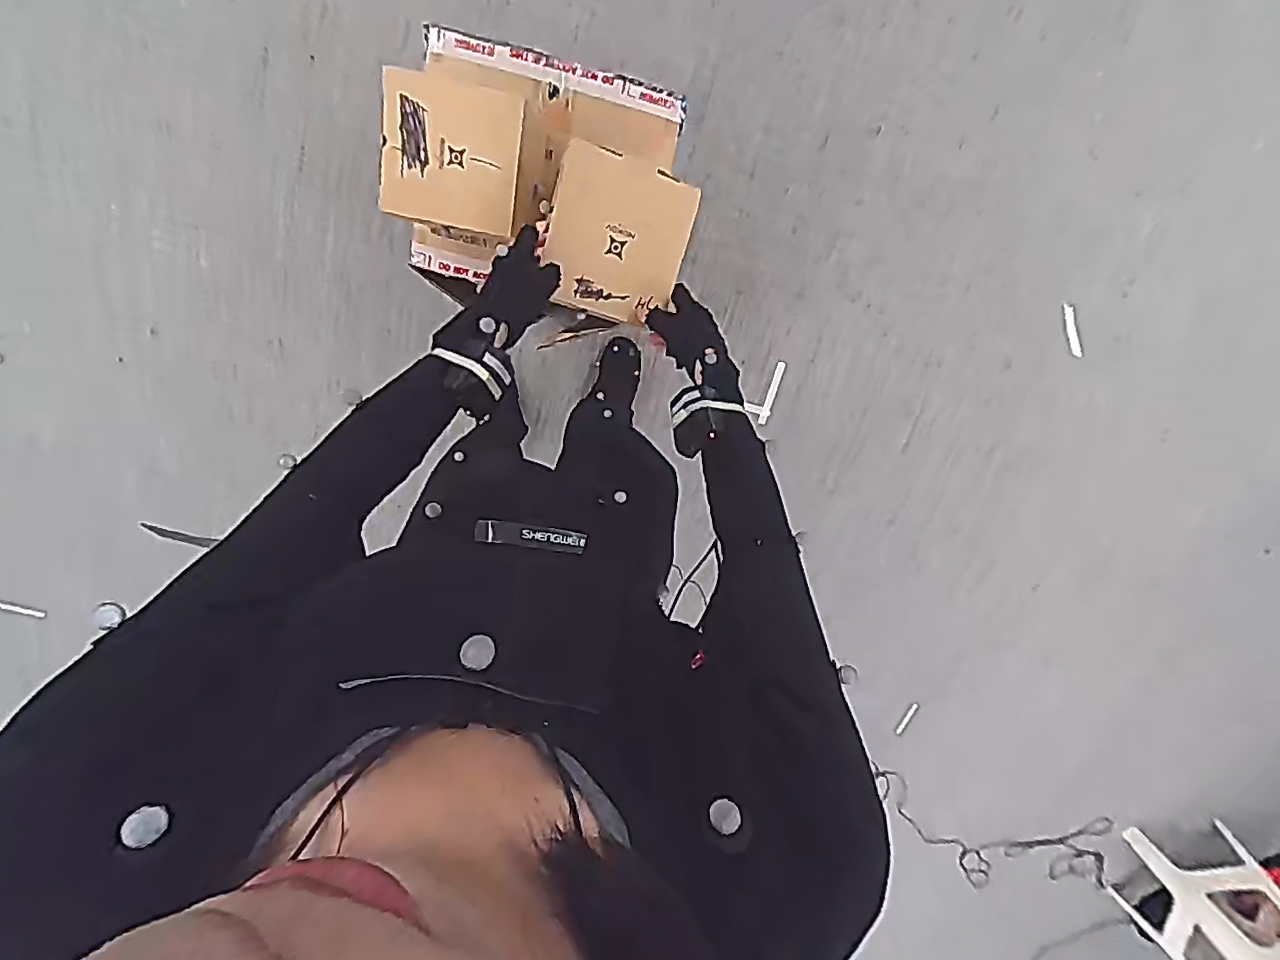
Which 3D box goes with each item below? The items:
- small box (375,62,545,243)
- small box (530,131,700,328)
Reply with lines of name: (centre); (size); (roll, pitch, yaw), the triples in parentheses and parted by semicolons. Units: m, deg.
small box: (-0.241, -0.436, 0.751); (0.179, 0.176, 0.168); (10, 109, -4)
small box: (-0.046, -0.313, 0.713); (0.168, 0.176, 0.179); (13, 104, -18)
